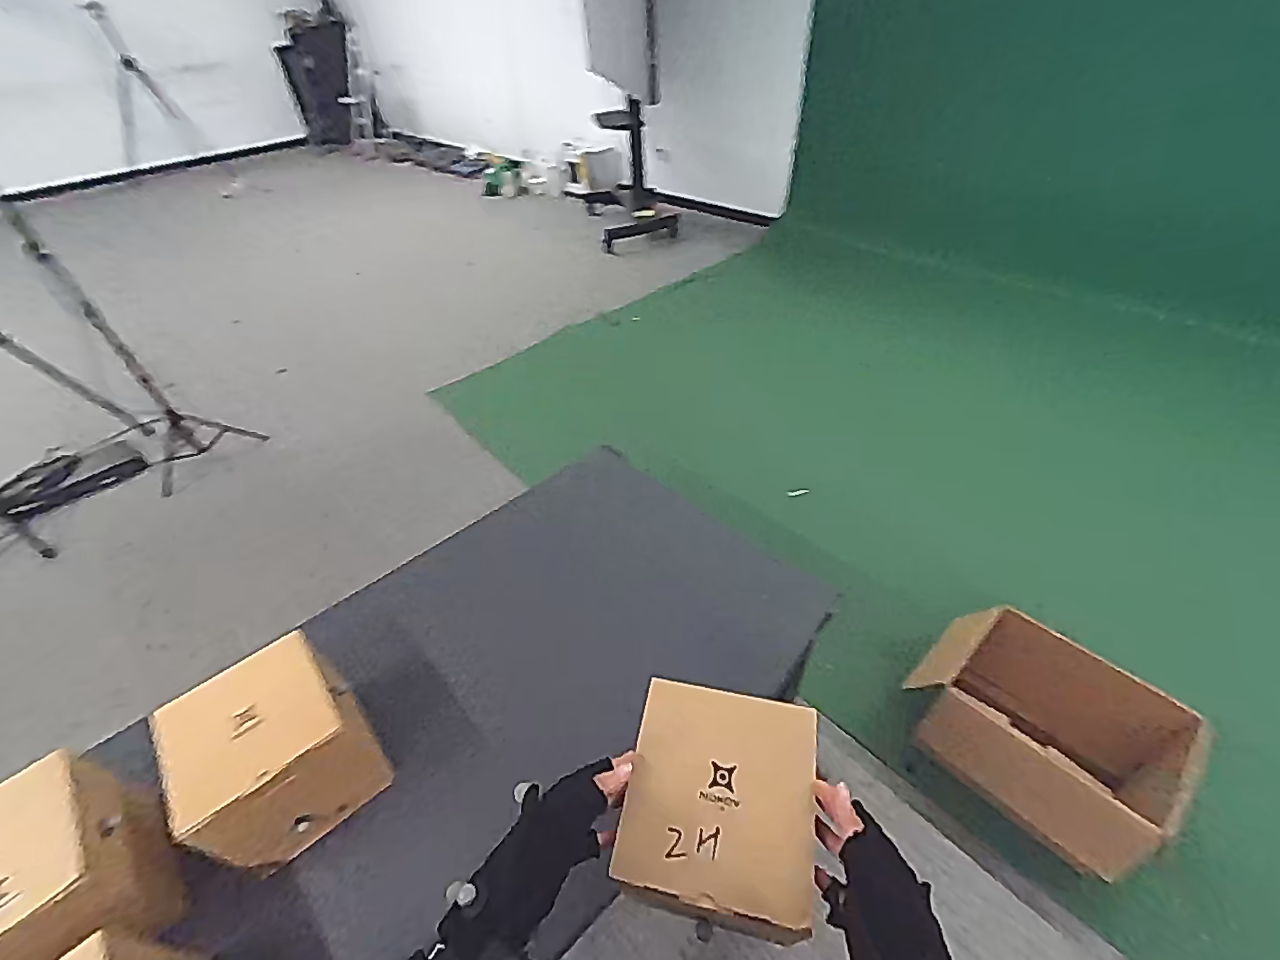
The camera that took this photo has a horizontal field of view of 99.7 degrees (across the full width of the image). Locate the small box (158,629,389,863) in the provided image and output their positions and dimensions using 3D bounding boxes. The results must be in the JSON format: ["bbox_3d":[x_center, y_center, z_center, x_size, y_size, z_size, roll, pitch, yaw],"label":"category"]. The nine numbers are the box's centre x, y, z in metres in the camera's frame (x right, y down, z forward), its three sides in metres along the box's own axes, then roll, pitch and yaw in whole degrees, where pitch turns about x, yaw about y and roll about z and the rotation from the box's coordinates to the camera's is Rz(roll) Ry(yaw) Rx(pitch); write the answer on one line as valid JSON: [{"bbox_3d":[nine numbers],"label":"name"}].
[{"bbox_3d":[-0.450,0.332,0.681,0.168,0.176,0.179,-33,51,-28],"label":"small box"}]

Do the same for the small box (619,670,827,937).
[{"bbox_3d":[0.087,0.323,0.544,0.168,0.176,0.179,7,49,14],"label":"small box"}]

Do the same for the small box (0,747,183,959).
[{"bbox_3d":[-0.641,0.437,0.579,0.168,0.176,0.179,-35,51,-30],"label":"small box"}]
